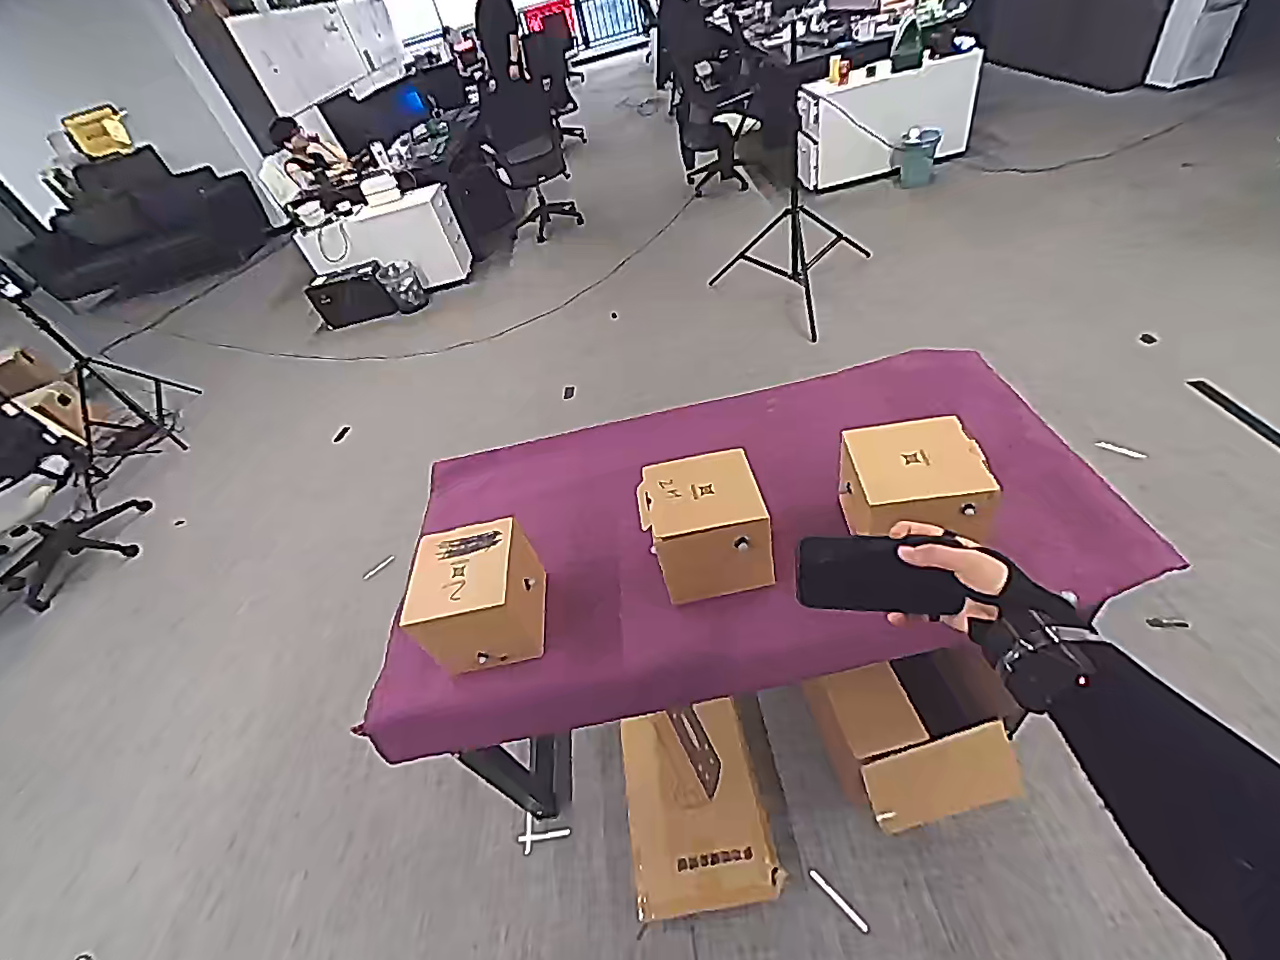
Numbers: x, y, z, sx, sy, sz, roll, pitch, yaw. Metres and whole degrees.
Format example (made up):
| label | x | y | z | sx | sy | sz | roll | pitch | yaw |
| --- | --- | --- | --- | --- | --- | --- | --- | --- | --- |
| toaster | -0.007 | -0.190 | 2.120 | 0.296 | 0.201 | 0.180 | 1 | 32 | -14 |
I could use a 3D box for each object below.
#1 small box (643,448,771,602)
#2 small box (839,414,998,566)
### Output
| label | x | y | z | sx | sy | sz | roll | pitch | yaw |
| --- | --- | --- | --- | --- | --- | --- | --- | --- | --- |
| small box | 0.113 | 0.077 | 0.898 | 0.179 | 0.176 | 0.168 | -13 | 41 | 4 |
| small box | 0.424 | 0.021 | 0.858 | 0.179 | 0.176 | 0.168 | -8 | 44 | 9 |
